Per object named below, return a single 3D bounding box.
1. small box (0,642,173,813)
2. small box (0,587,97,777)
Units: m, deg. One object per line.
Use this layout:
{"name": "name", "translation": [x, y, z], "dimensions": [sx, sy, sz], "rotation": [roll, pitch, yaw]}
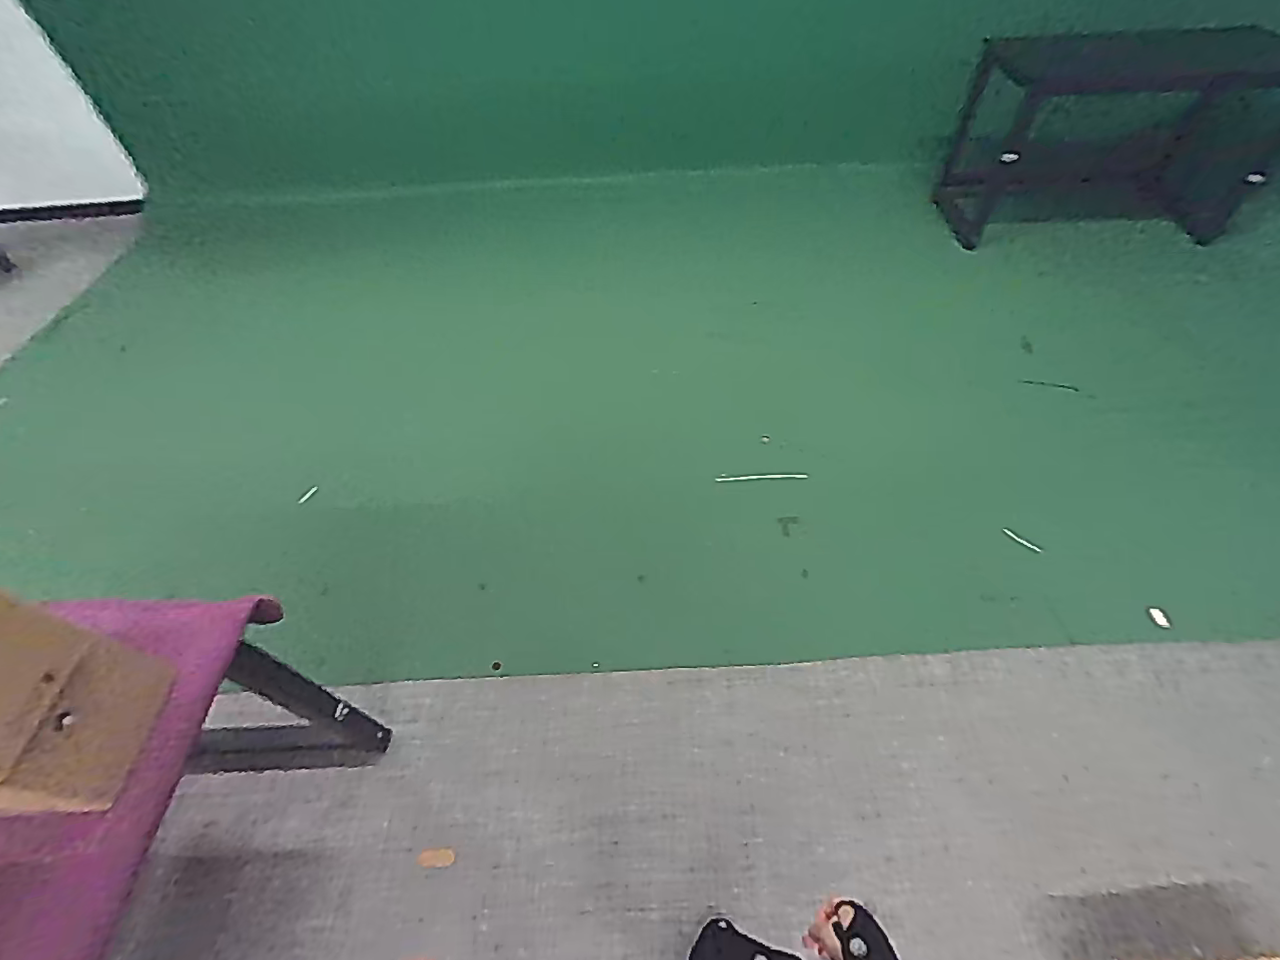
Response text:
{"name": "small box", "translation": [-0.755, 0.309, 0.680], "dimensions": [0.168, 0.176, 0.179], "rotation": [-4, 51, 0]}
{"name": "small box", "translation": [-0.744, 0.207, 0.550], "dimensions": [0.179, 0.176, 0.168], "rotation": [-2, 52, 2]}
